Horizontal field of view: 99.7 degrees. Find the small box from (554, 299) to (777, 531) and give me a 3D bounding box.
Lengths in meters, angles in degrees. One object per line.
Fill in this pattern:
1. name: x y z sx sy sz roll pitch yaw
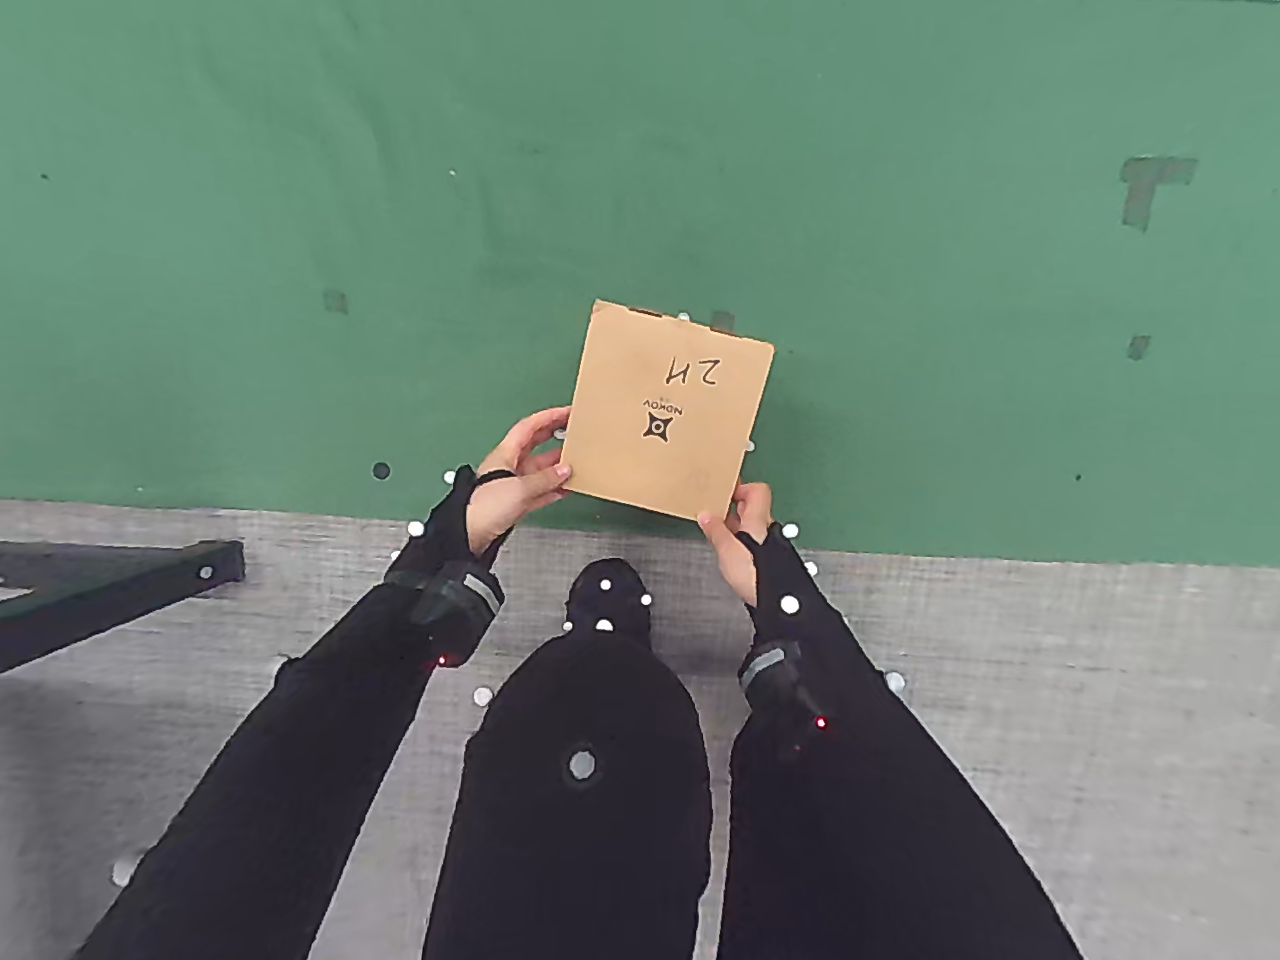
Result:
1. small box: 0.022 -0.071 0.561 0.168 0.176 0.179 15 102 -3
